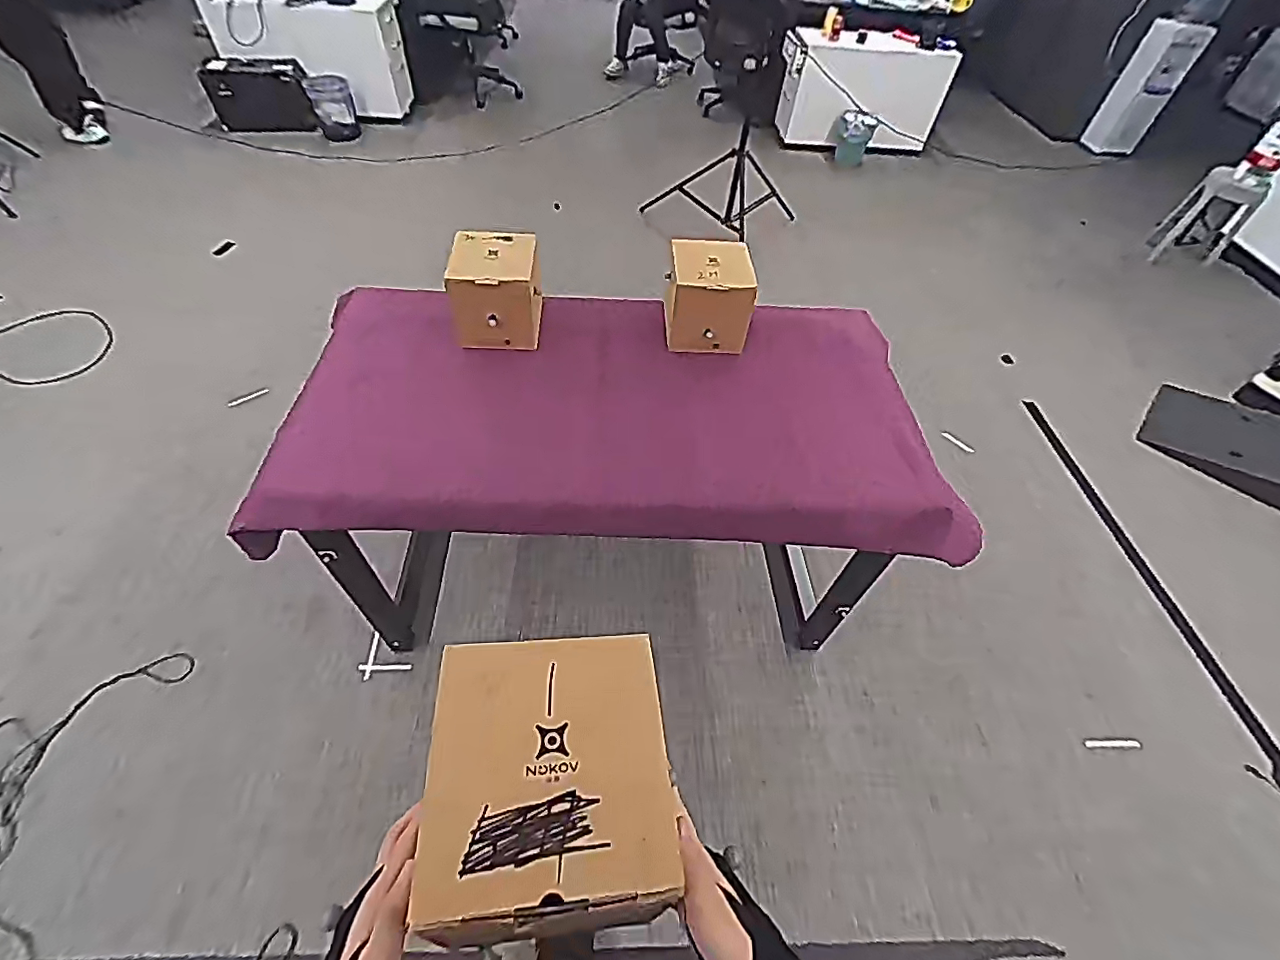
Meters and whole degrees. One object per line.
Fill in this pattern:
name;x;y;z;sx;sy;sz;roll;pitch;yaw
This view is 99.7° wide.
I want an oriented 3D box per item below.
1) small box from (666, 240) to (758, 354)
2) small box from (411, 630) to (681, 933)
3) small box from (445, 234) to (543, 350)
small box;0.148;-0.399;1.186;0.168;0.176;0.179;0;53;-3
small box;-0.069;0.244;0.438;0.168;0.176;0.179;0;45;-9
small box;-0.299;-0.394;1.147;0.168;0.176;0.179;1;54;-5
